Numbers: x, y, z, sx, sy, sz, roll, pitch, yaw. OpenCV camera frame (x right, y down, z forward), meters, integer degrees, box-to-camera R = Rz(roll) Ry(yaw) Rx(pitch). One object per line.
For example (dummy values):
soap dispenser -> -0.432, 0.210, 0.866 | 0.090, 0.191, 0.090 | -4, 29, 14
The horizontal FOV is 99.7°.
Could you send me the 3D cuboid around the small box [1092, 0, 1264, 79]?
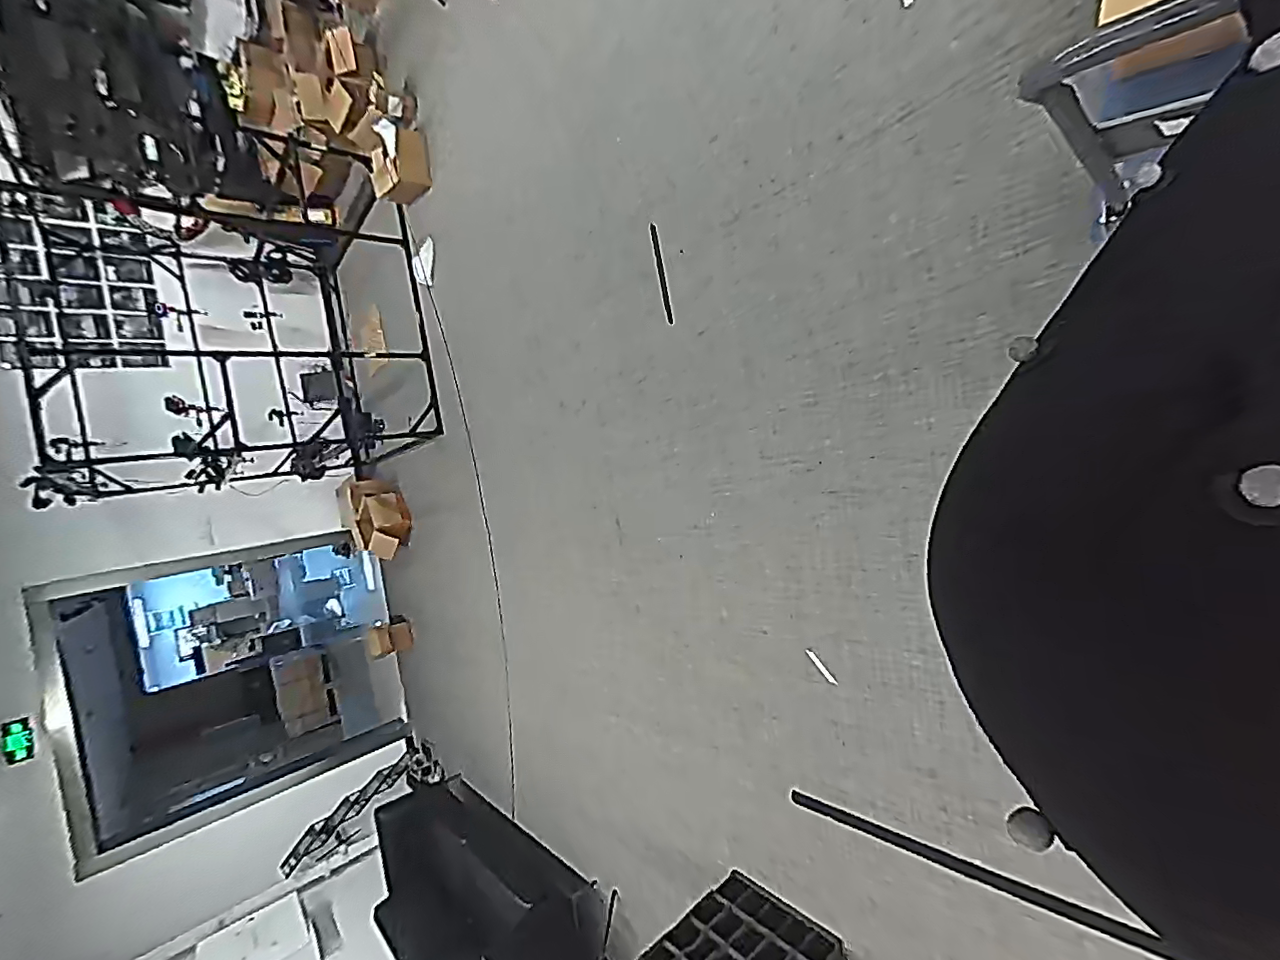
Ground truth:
small box -> 0.826, -0.754, 0.821 | 0.179, 0.176, 0.168 | 11, 106, 46
